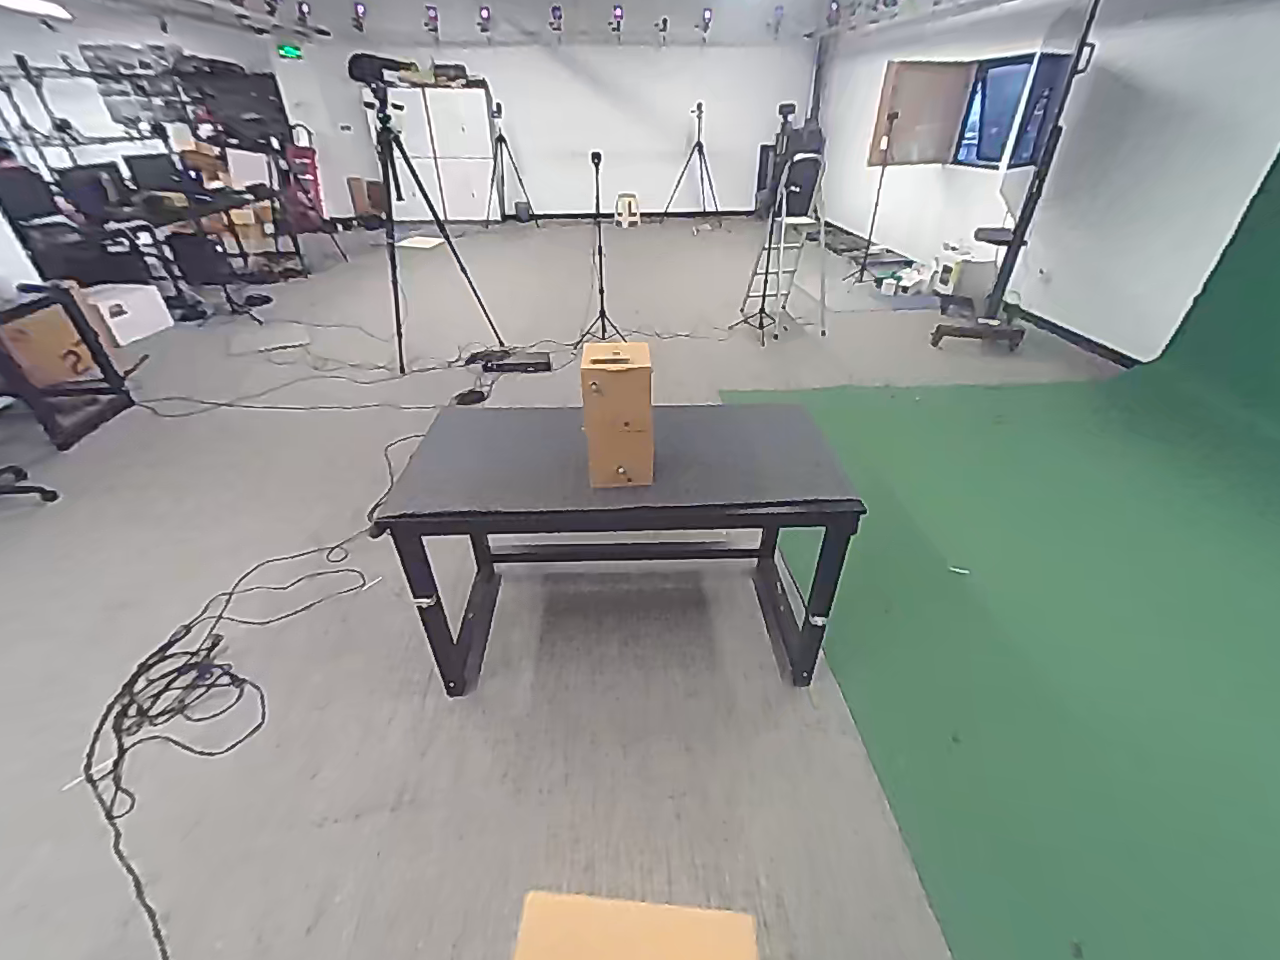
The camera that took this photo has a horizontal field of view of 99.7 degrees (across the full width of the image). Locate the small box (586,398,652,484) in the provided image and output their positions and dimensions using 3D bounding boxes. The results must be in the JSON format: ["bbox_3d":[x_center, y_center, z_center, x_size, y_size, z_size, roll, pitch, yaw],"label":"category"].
[{"bbox_3d":[-0.060,-0.105,1.444,0.168,0.176,0.179,-3,33,-4],"label":"small box"}]
